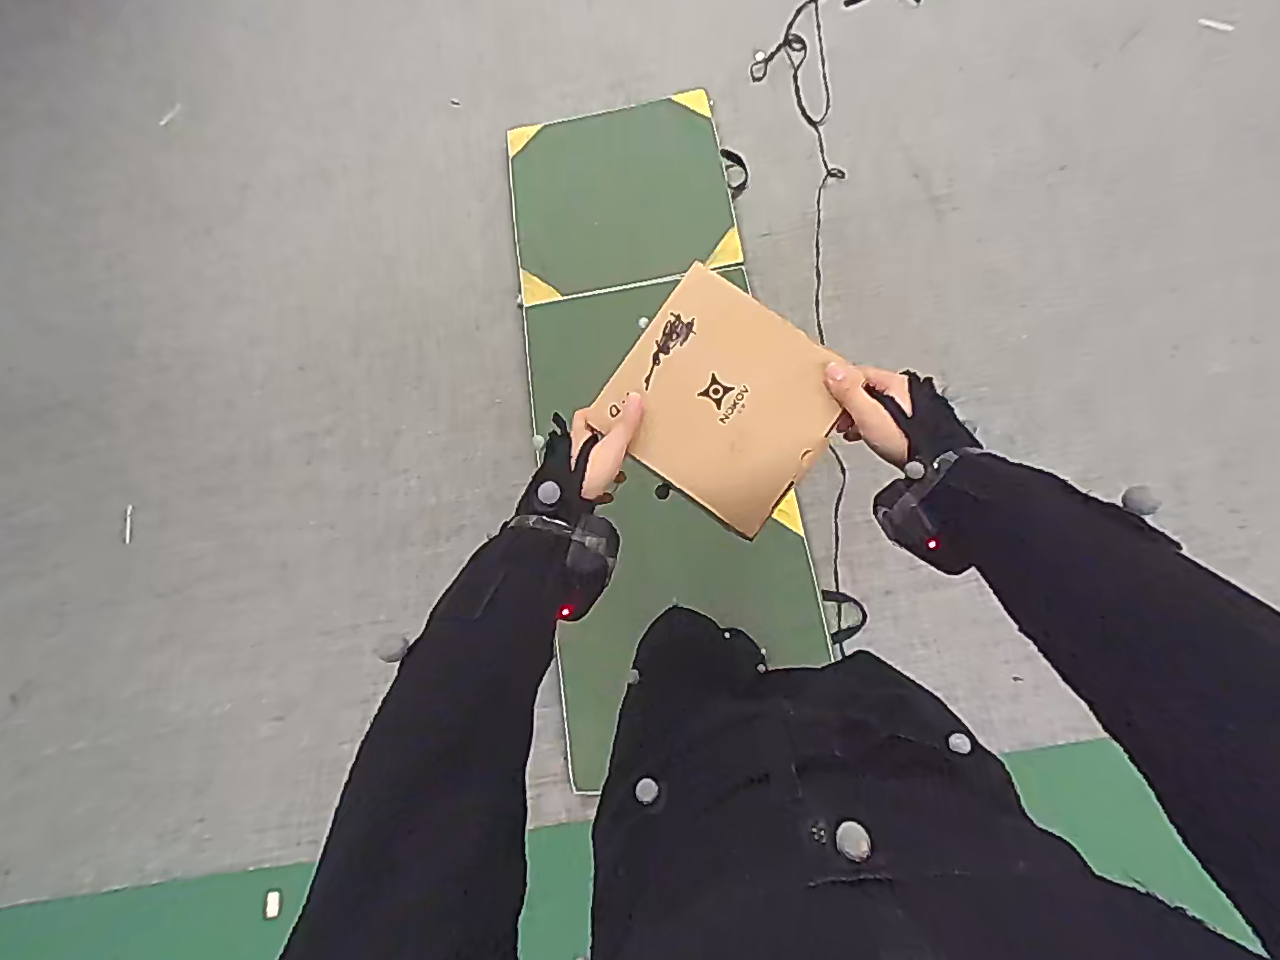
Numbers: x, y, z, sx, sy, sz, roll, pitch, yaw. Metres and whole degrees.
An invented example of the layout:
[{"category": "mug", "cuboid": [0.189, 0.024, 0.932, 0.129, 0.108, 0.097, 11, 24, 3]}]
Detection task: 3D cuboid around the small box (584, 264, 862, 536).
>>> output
[{"category": "small box", "cuboid": [0.072, -0.067, 0.530, 0.179, 0.176, 0.168, 36, 90, 3]}]
